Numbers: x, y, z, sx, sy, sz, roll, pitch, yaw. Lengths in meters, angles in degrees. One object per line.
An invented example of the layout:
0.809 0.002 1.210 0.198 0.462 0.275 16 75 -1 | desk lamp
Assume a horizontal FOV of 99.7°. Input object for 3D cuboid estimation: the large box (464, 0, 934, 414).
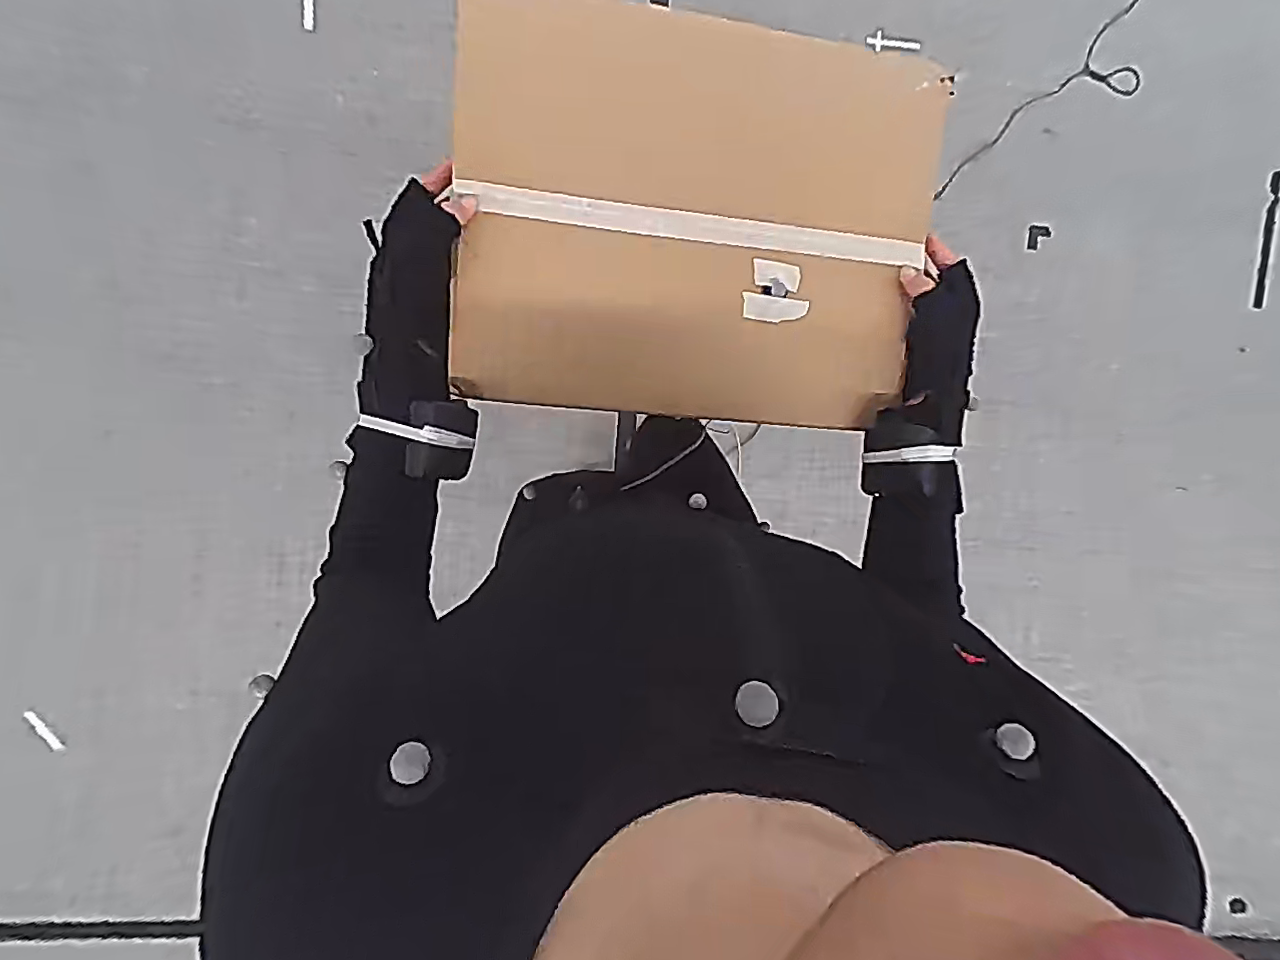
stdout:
0.030 -0.249 0.612 0.408 0.320 0.320 4 101 -10 | large box
